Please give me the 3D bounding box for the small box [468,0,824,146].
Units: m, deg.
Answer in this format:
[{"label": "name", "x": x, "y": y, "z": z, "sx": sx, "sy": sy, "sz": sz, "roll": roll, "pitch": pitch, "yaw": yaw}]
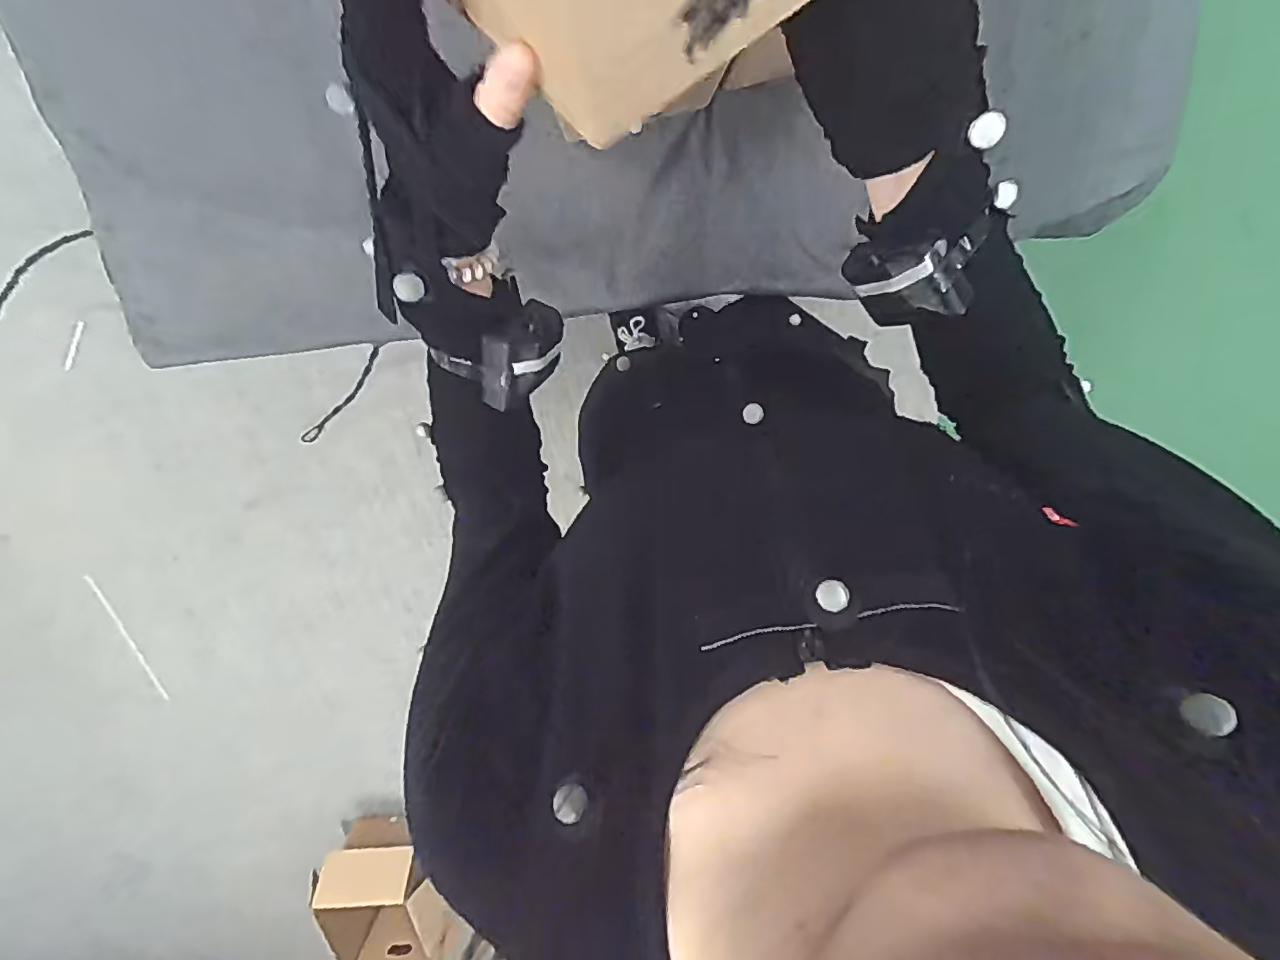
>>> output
[{"label": "small box", "x": -0.007, "y": -0.266, "z": 0.169, "sx": 0.168, "sy": 0.179, "sz": 0.176, "roll": -41, "pitch": 74, "yaw": -6}]
